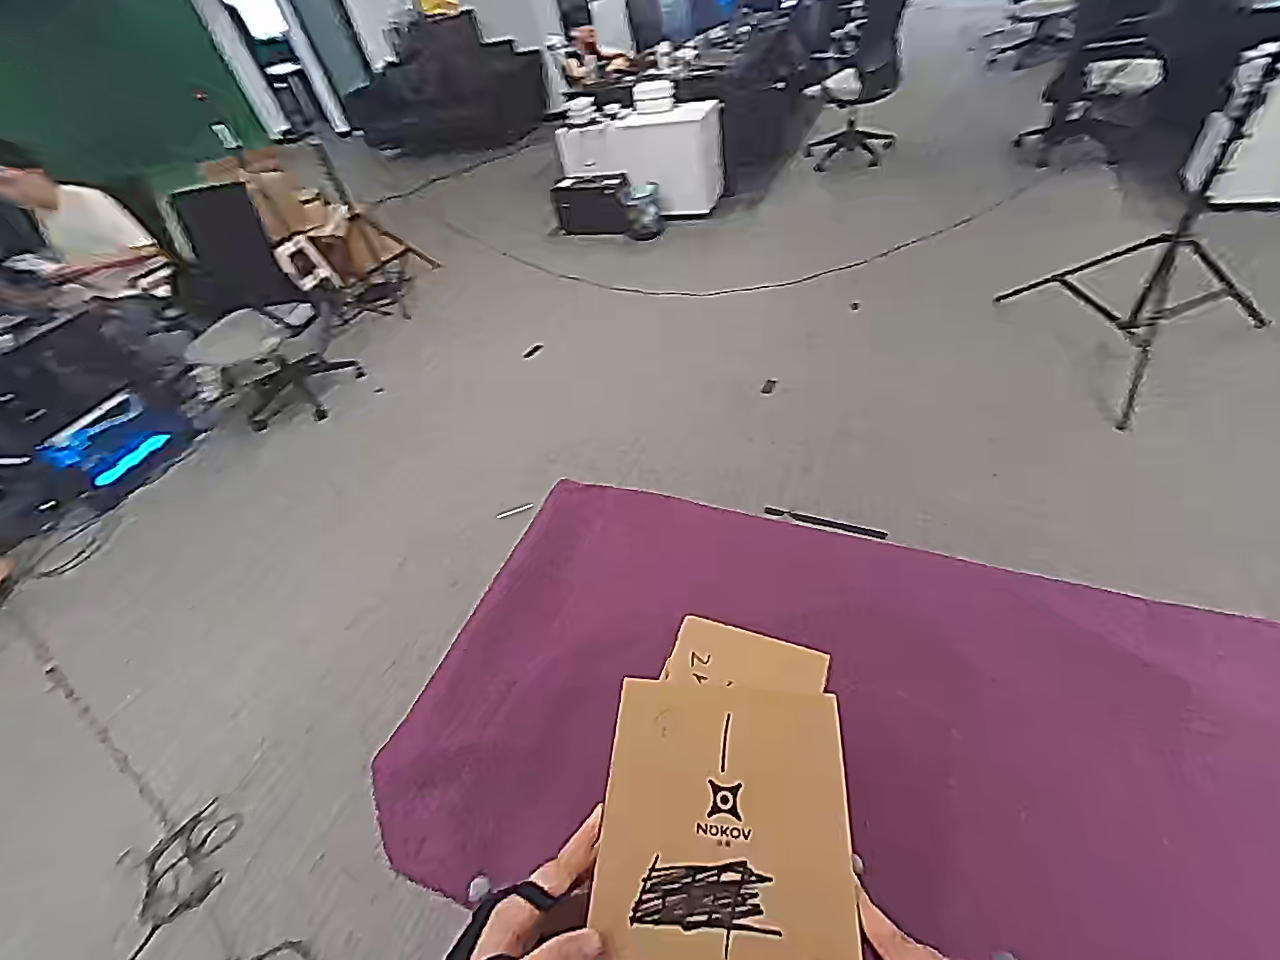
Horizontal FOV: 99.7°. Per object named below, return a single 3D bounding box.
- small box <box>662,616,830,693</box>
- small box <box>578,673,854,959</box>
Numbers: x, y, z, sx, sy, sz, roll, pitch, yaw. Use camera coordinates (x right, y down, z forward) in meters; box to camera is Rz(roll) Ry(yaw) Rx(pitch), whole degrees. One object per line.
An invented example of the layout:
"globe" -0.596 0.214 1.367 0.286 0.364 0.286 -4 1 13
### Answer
"small box" 0.117 0.295 0.645 0.179 0.176 0.168 10 49 23
"small box" 0.064 0.275 0.422 0.168 0.176 0.179 1 49 11
